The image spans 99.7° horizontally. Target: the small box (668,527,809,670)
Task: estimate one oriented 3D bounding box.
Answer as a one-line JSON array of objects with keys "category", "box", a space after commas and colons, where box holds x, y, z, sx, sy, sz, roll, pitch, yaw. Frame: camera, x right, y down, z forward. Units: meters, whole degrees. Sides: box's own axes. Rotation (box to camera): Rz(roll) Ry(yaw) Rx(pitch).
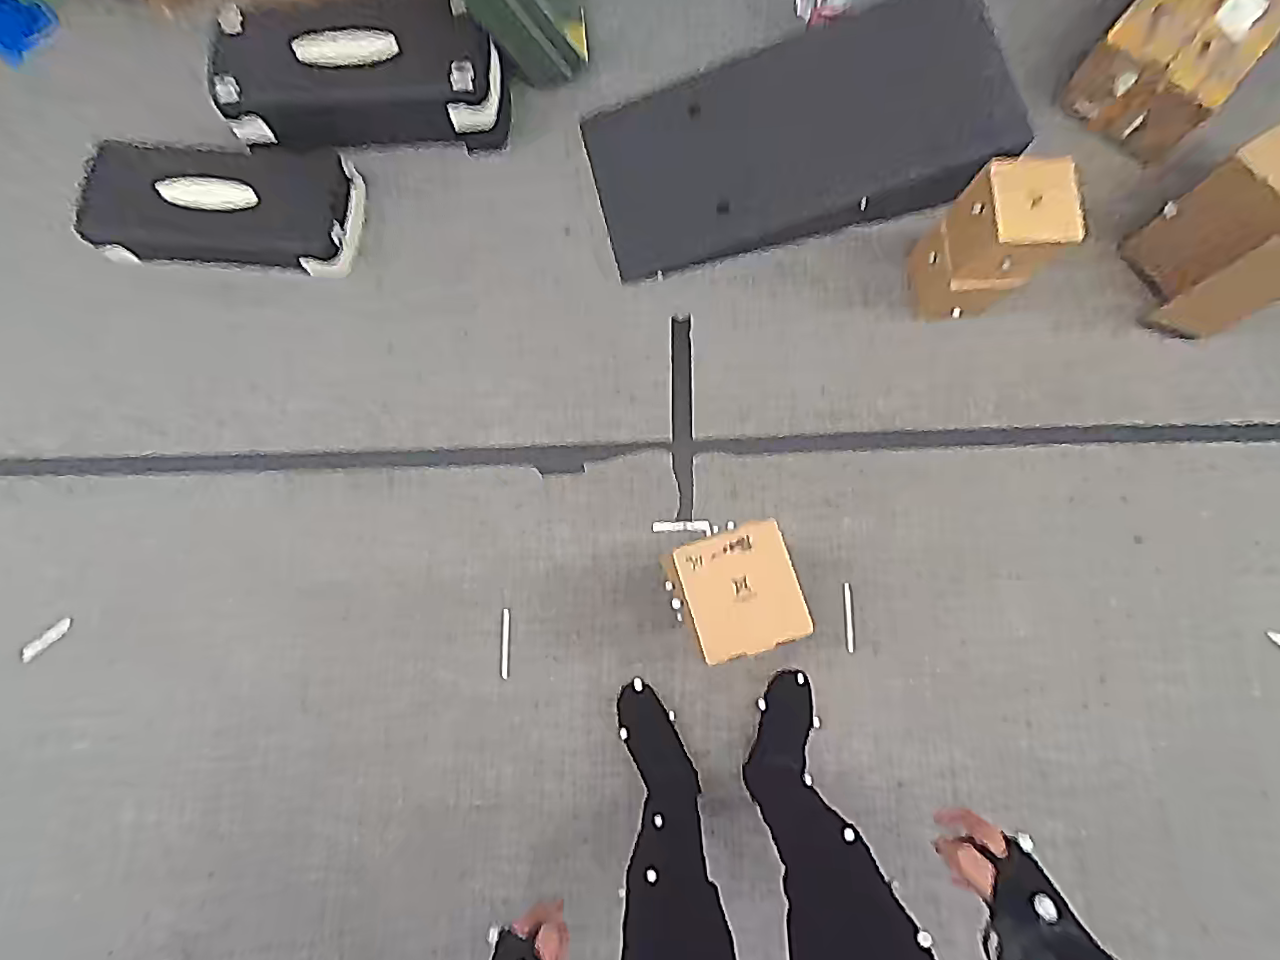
[{"category": "small box", "box": [0.149, 0.184, 0.877, 0.168, 0.176, 0.179, -16, 81, -3]}]
